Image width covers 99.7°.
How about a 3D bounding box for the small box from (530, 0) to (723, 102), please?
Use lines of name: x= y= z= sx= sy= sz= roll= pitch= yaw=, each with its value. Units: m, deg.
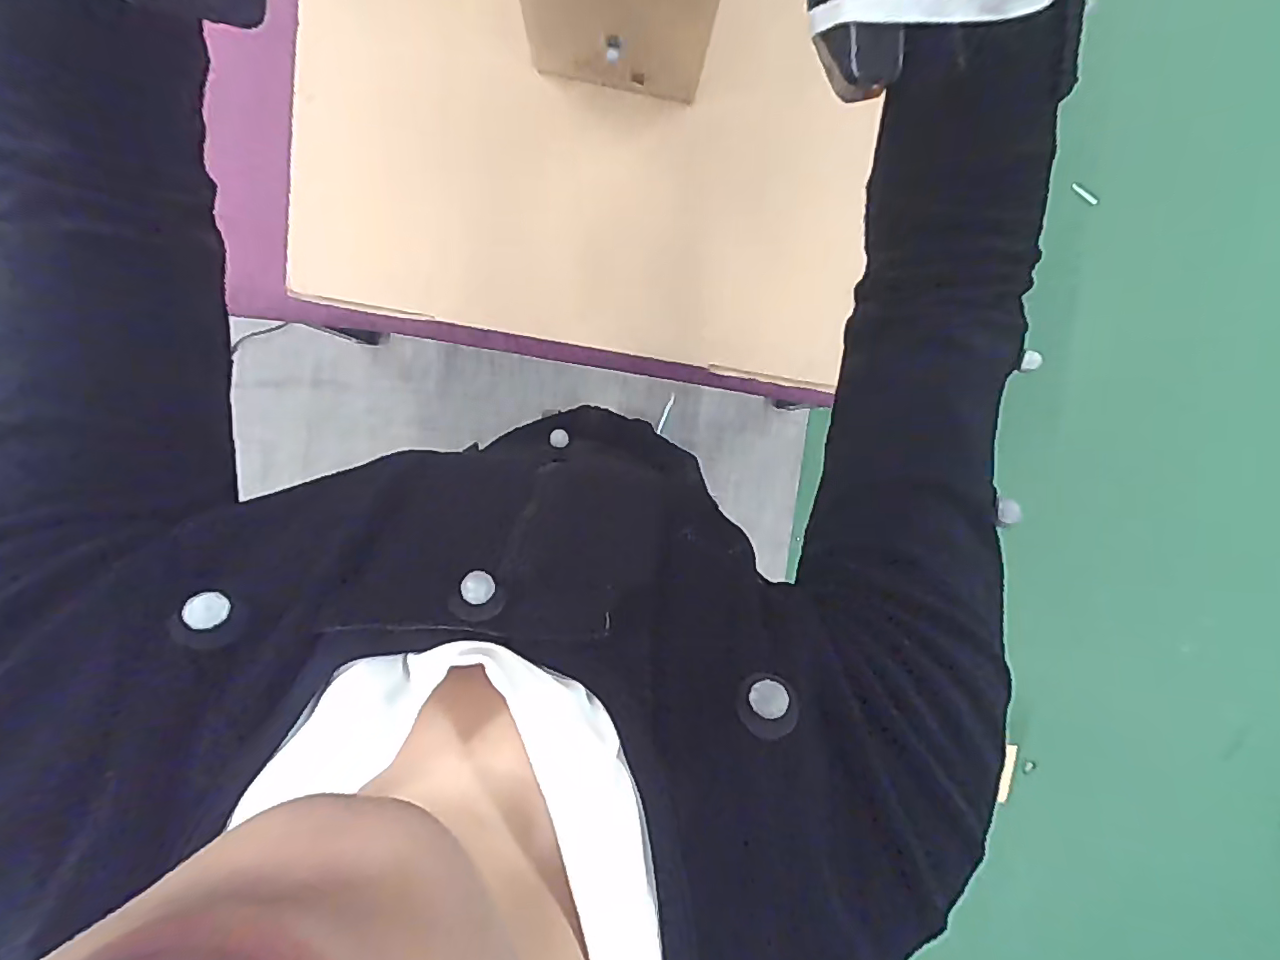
small box: x=-0.003 y=-0.472 z=0.454 sx=0.168 sy=0.176 sz=0.179 roll=10 pitch=94 yaw=-3
